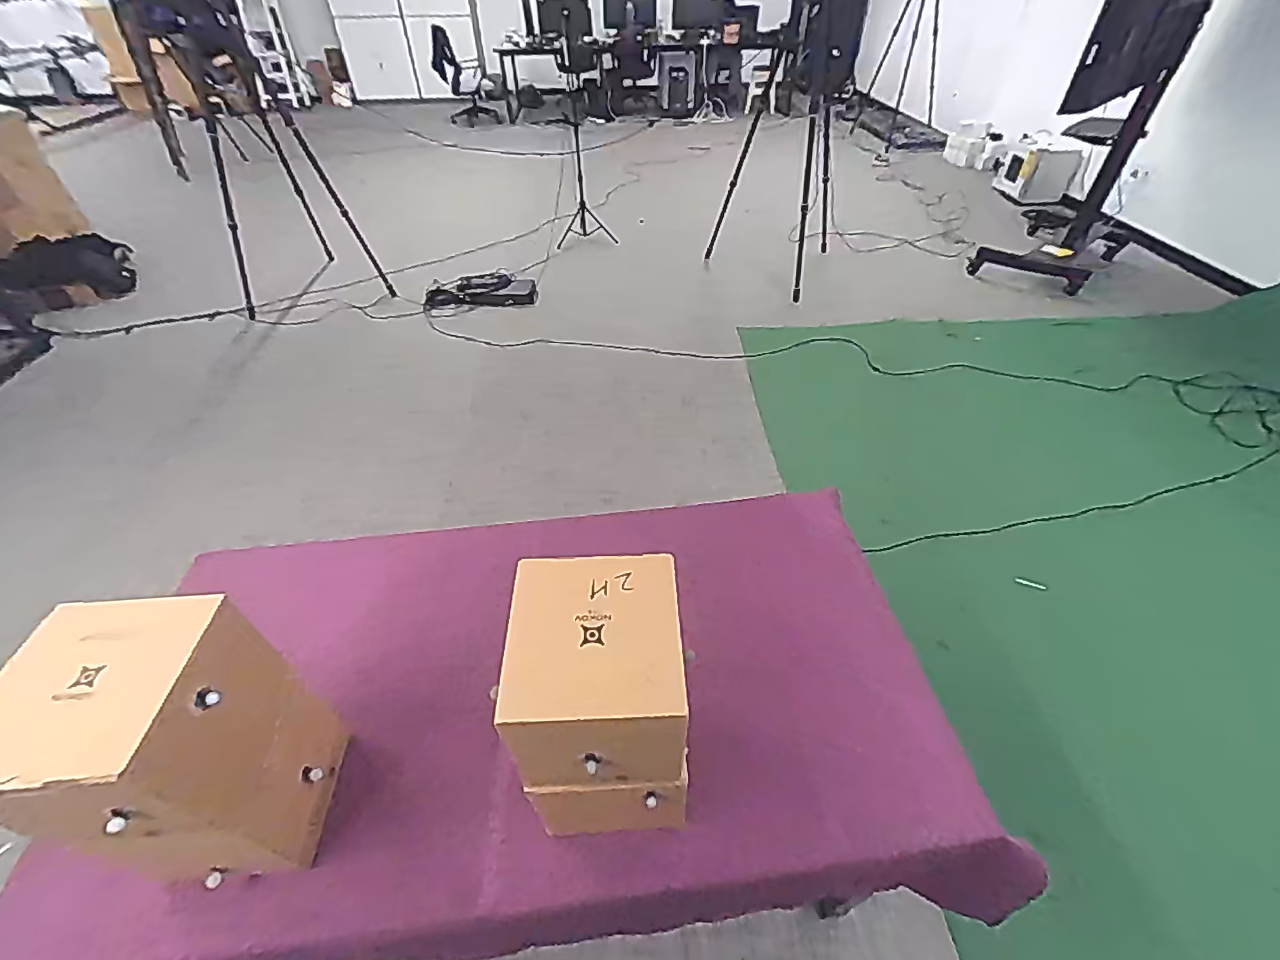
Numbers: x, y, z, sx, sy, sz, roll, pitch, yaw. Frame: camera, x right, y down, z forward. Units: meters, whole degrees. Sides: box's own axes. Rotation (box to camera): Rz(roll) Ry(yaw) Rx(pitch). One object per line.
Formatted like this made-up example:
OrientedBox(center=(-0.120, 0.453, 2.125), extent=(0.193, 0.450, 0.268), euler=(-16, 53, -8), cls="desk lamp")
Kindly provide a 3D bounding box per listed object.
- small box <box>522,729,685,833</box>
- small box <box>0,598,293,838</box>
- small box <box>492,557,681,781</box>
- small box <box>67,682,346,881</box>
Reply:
OrientedBox(center=(-0.040, 0.326, 0.680), extent=(0.179, 0.176, 0.168), euler=(-3, 44, -2), cls="small box")
OrientedBox(center=(-0.493, 0.242, 0.544), extent=(0.168, 0.176, 0.179), euler=(-3, 43, -1), cls="small box")
OrientedBox(center=(-0.044, 0.203, 0.570), extent=(0.168, 0.176, 0.179), euler=(-2, 43, 0), cls="small box")
OrientedBox(center=(-0.490, 0.364, 0.653), extent=(0.179, 0.176, 0.168), euler=(-4, 43, -3), cls="small box")
